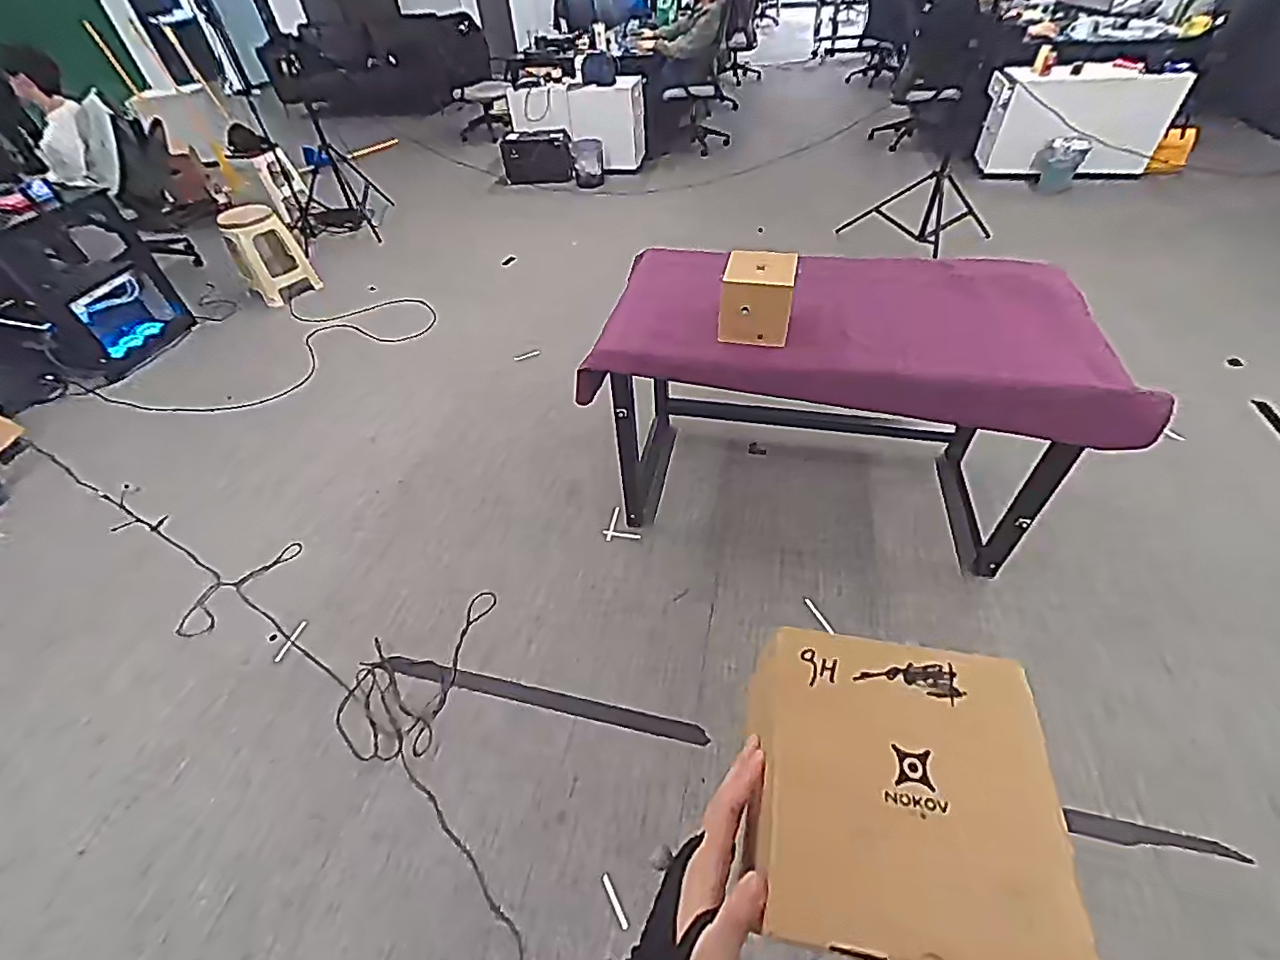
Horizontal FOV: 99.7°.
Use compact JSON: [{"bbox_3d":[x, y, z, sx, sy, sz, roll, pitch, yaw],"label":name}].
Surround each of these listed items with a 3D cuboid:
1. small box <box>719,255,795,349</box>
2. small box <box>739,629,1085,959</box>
[{"bbox_3d":[0.294,-0.449,1.369,0.168,0.176,0.179,8,46,12],"label":"small box"},{"bbox_3d":[0.167,0.233,0.395,0.168,0.176,0.179,7,54,7],"label":"small box"}]
